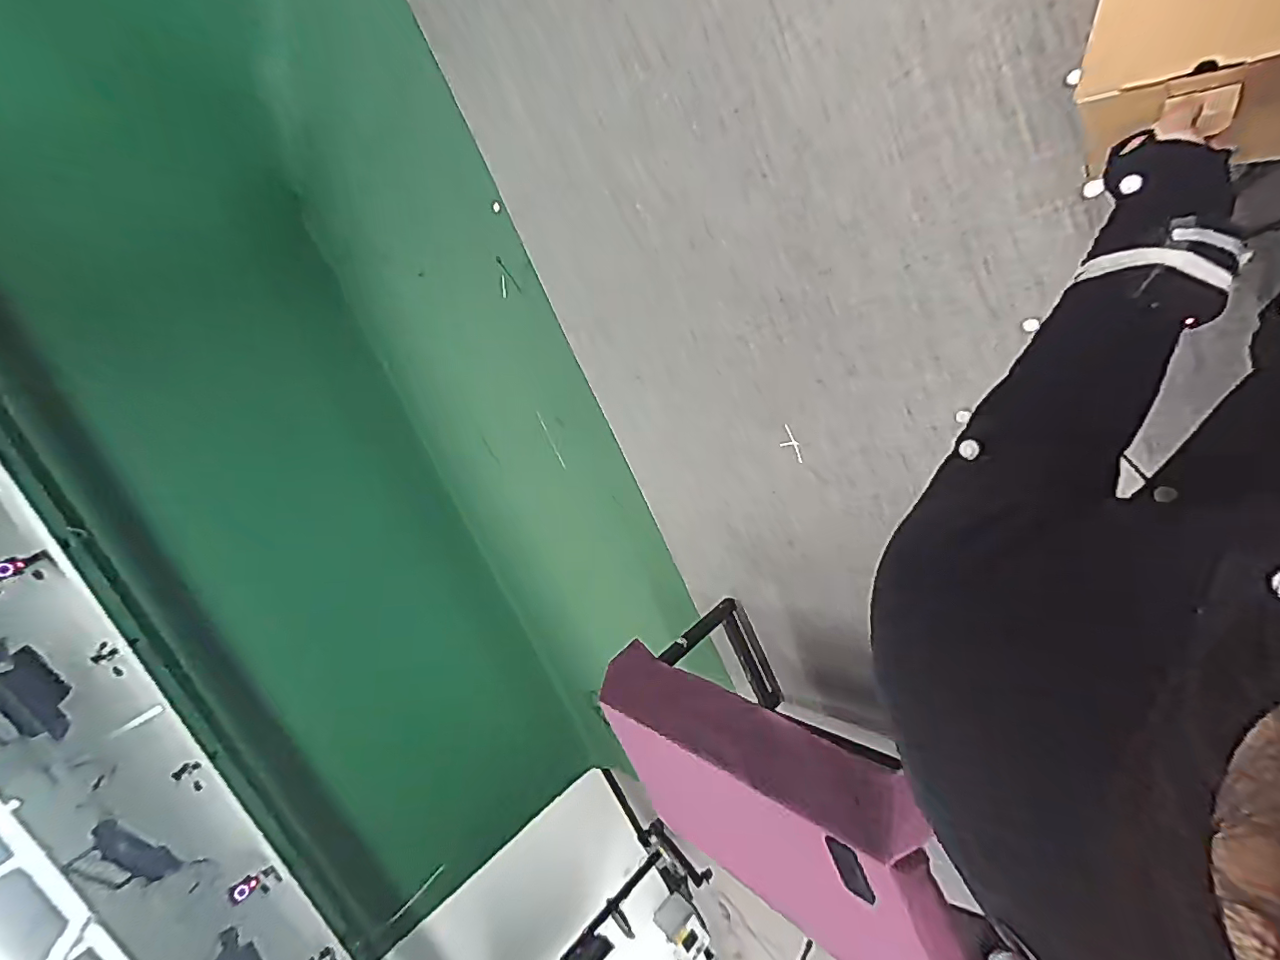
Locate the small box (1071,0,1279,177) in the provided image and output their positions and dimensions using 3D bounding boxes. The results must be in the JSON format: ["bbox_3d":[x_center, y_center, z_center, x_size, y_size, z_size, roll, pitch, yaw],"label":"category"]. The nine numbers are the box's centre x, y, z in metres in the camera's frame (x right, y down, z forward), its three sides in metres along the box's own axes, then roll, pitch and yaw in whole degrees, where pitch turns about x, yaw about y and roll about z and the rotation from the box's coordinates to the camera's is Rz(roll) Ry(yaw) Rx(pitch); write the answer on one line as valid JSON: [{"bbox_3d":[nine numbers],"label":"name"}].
[{"bbox_3d":[0.519,-0.409,0.488,0.168,0.176,0.179,17,100,42],"label":"small box"}]
